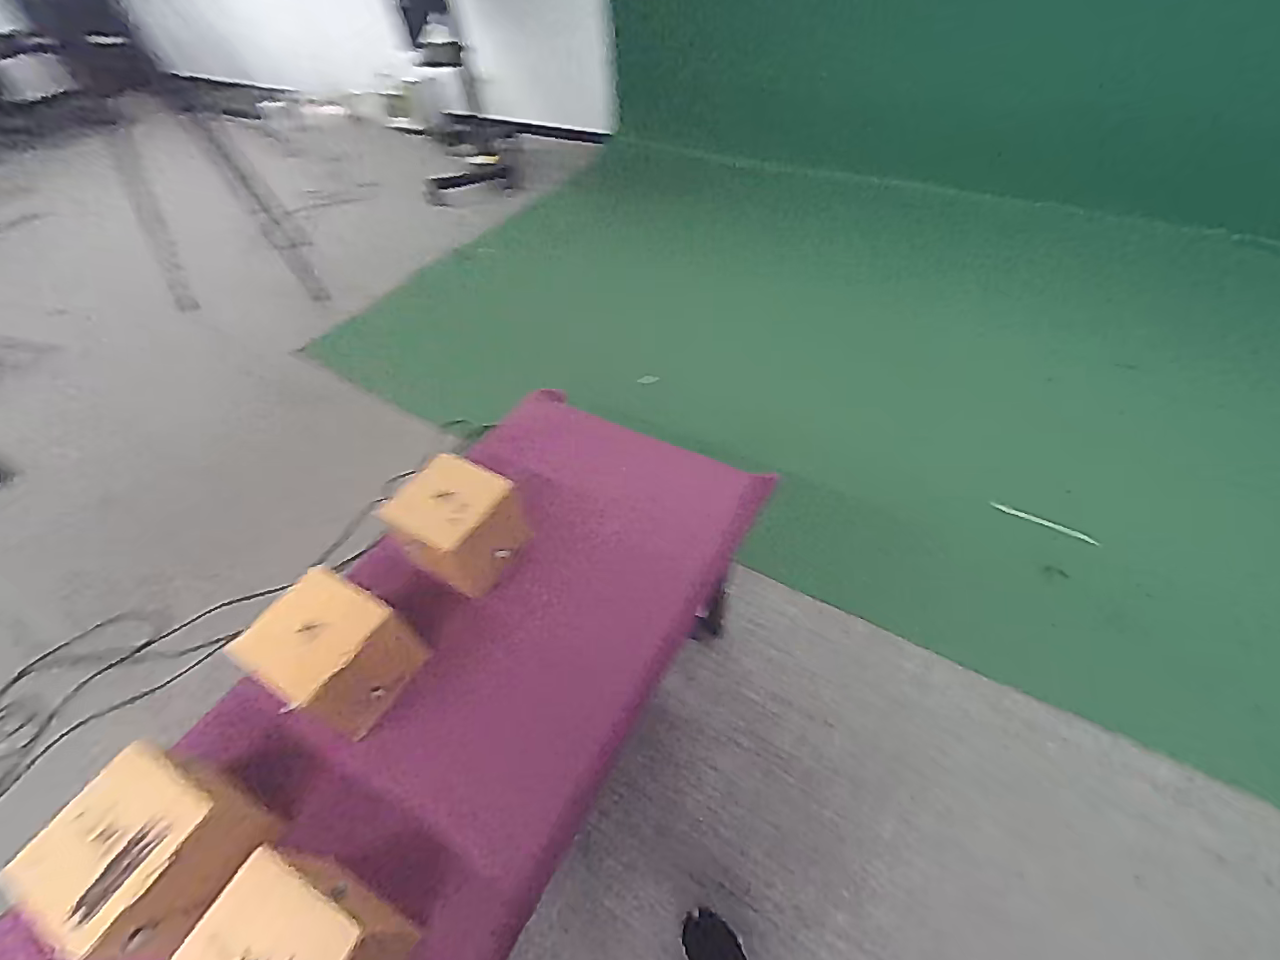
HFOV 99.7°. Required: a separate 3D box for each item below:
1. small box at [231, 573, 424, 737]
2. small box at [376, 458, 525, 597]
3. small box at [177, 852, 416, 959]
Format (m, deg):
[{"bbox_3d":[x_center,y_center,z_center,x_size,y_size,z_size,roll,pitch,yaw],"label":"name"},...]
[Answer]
[{"bbox_3d":[-0.493,0.287,0.876,0.179,0.176,0.168,21,56,21],"label":"small box"},{"bbox_3d":[-0.346,0.093,1.019,0.179,0.176,0.168,23,57,22],"label":"small box"},{"bbox_3d":[-0.399,0.570,0.625,0.179,0.176,0.168,17,54,22],"label":"small box"}]
